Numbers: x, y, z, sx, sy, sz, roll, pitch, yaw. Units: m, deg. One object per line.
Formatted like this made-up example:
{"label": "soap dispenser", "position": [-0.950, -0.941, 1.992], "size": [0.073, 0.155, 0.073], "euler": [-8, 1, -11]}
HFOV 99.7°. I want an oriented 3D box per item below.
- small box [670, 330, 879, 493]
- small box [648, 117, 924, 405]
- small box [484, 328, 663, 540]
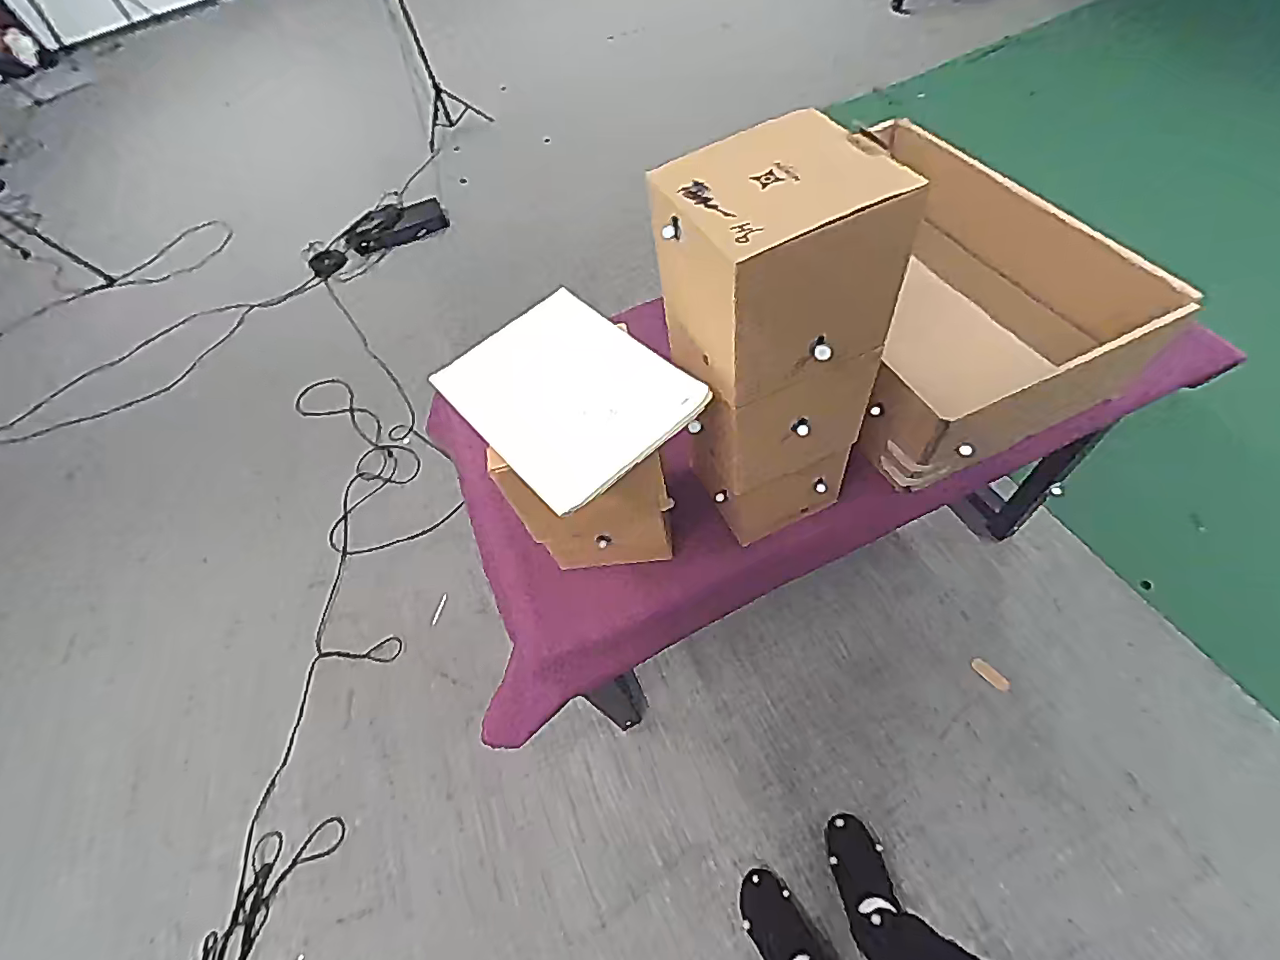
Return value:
{"label": "small box", "position": [0.151, -0.115, 0.656], "size": [0.179, 0.176, 0.168], "euler": [-24, 55, -5]}
{"label": "small box", "position": [0.125, -0.205, 0.521], "size": [0.179, 0.176, 0.168], "euler": [-24, 55, -7]}
{"label": "small box", "position": [-0.073, -0.049, 0.658], "size": [0.179, 0.176, 0.168], "euler": [-15, 56, 2]}
